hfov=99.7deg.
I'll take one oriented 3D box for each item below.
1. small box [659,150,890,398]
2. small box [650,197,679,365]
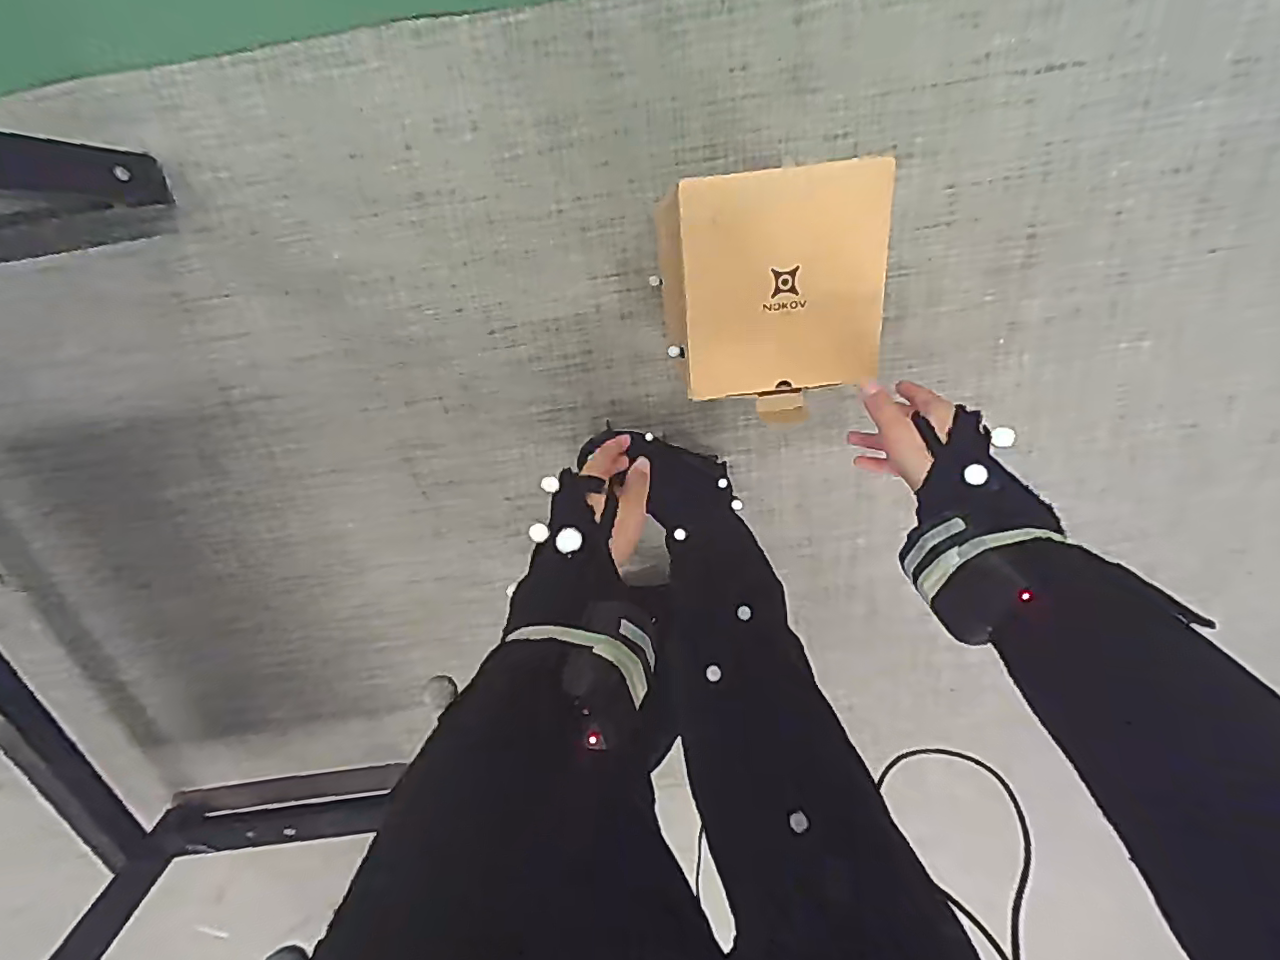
[{"bbox_3d":[0.110,-0.189,0.507,0.168,0.176,0.179,-6,114,1],"label":"small box"},{"bbox_3d":[0.104,-0.254,0.657,0.168,0.176,0.179,-7,115,2],"label":"small box"}]
